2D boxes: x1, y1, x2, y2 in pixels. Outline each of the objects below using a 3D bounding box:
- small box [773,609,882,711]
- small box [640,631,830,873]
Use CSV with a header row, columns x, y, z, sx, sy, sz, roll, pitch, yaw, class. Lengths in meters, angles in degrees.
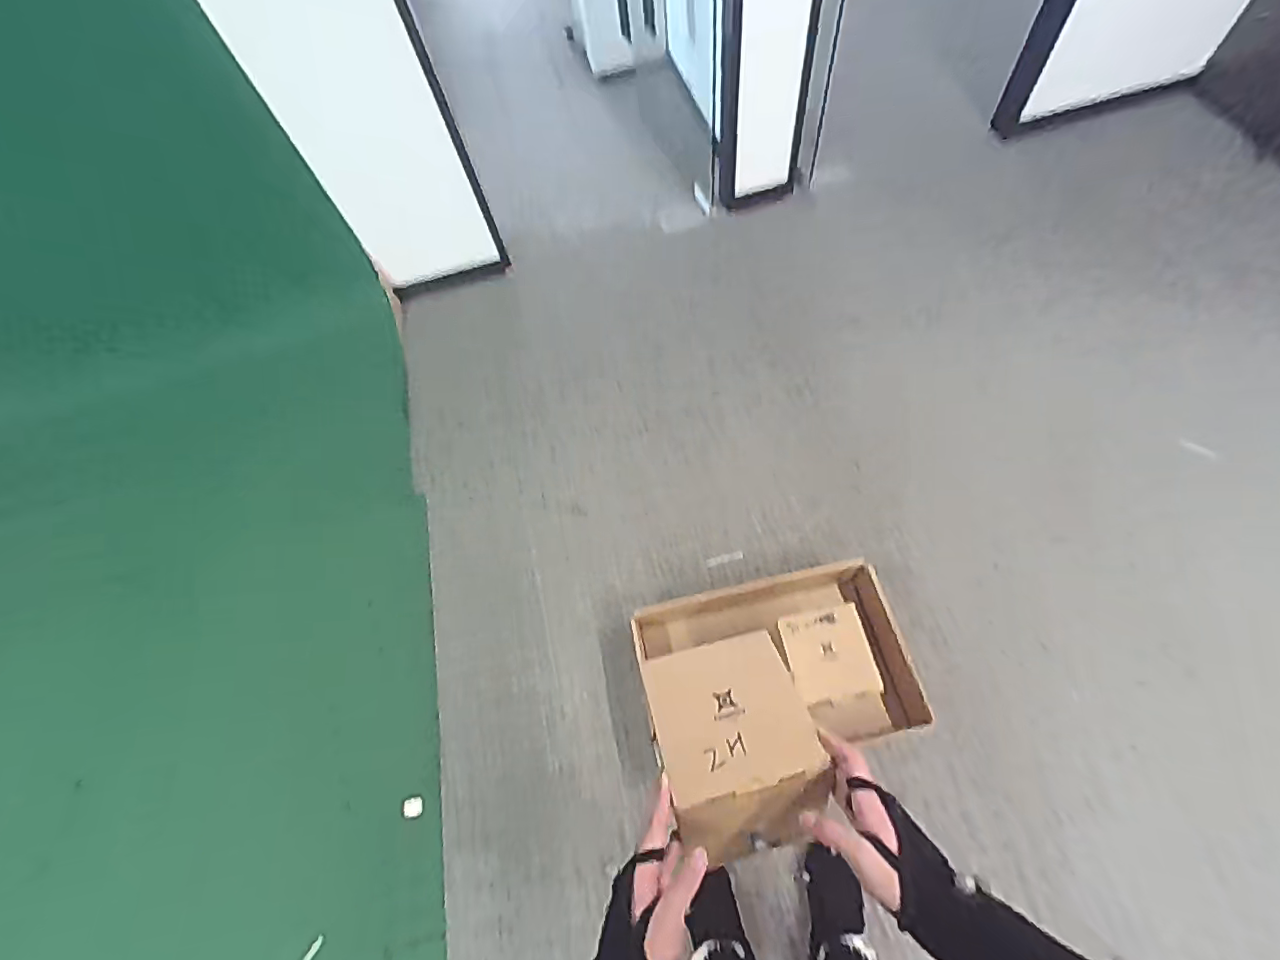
x,y,z,sx,sy,sz,roll,pitch,yaw,class
0.390,0.390,1.156,0.168,0.176,0.179,-12,64,3,small box
0.103,0.315,0.636,0.168,0.176,0.179,-13,35,-4,small box
